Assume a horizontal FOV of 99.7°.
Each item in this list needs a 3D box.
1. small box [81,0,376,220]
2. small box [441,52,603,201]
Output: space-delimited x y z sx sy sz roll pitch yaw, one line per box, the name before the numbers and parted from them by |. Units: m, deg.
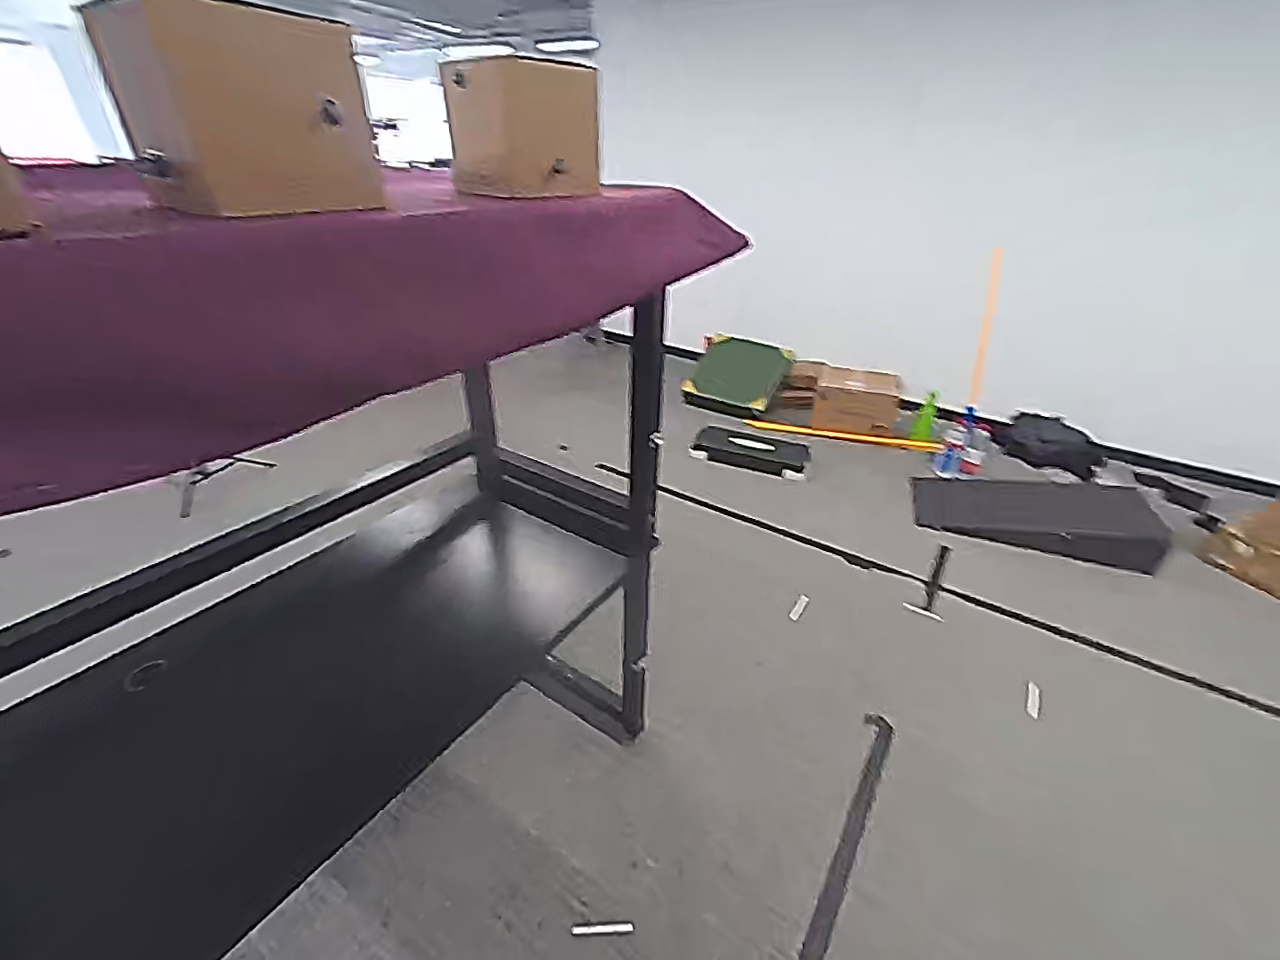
small box | -0.398 -0.371 0.555 0.168 0.176 0.179 20 35 29
small box | -0.175 -0.529 0.823 0.168 0.176 0.179 27 39 36
